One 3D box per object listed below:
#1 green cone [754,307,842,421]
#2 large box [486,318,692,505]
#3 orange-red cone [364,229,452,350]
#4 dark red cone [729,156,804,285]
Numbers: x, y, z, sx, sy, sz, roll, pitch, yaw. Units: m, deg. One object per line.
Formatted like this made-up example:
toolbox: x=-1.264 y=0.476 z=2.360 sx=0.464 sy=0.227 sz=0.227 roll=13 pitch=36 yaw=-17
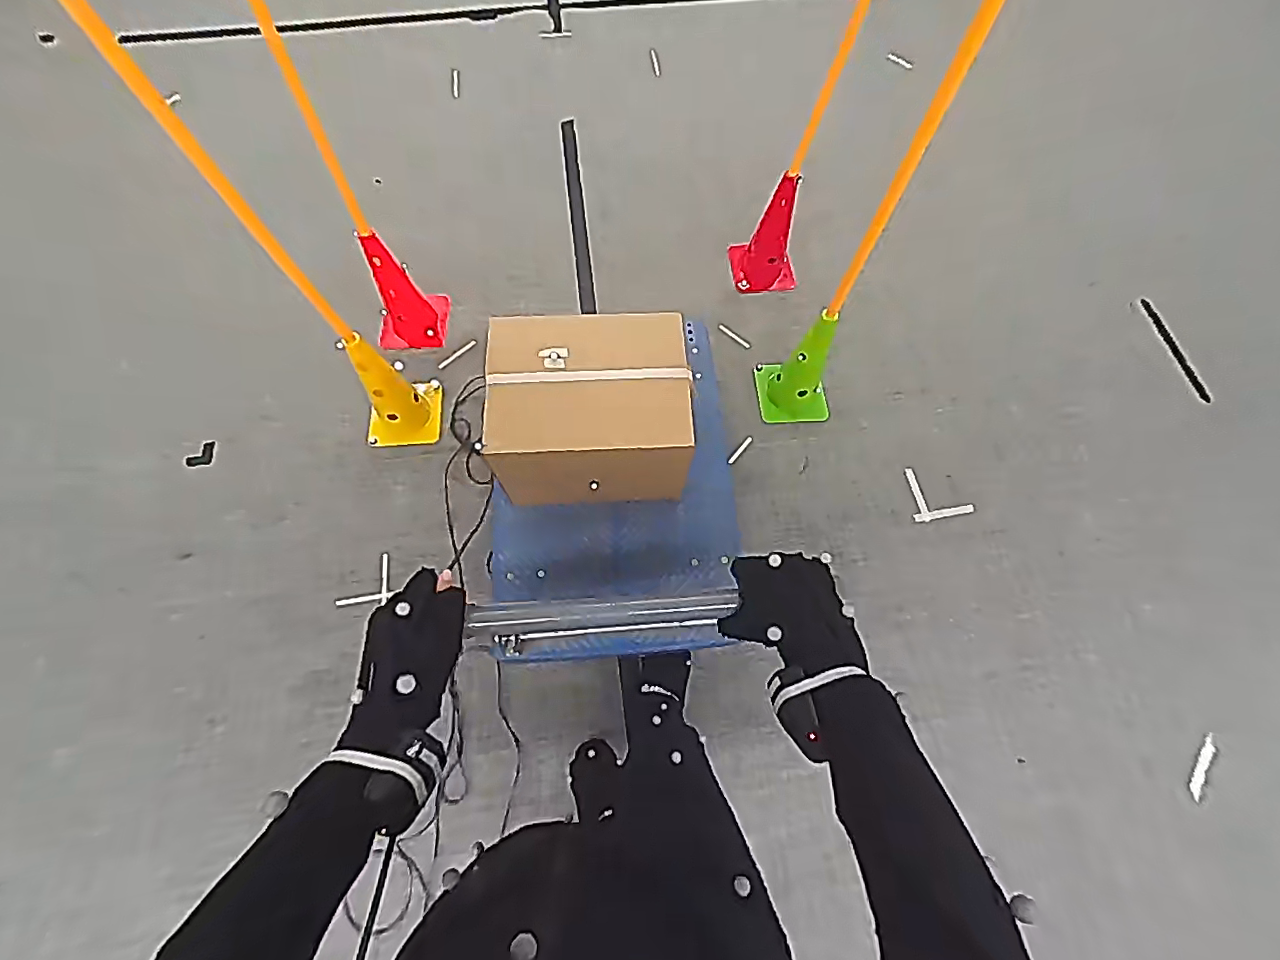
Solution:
green cone: x=0.458 y=-0.331 z=1.470 sx=0.202 sy=0.368 sz=0.200 roll=-3 pitch=68 yaw=-4
large box: x=-0.106 y=-0.139 z=1.227 sx=0.408 sy=0.320 sz=0.320 roll=-2 pitch=69 yaw=-1
orange-red cone: x=-0.696 y=-0.562 z=1.545 sx=0.198 sy=0.360 sz=0.199 roll=0 pitch=67 yaw=-2
dark red cone: x=0.413 y=-0.786 z=1.634 sx=0.201 sy=0.394 sz=0.202 roll=-6 pitch=69 yaw=-6
